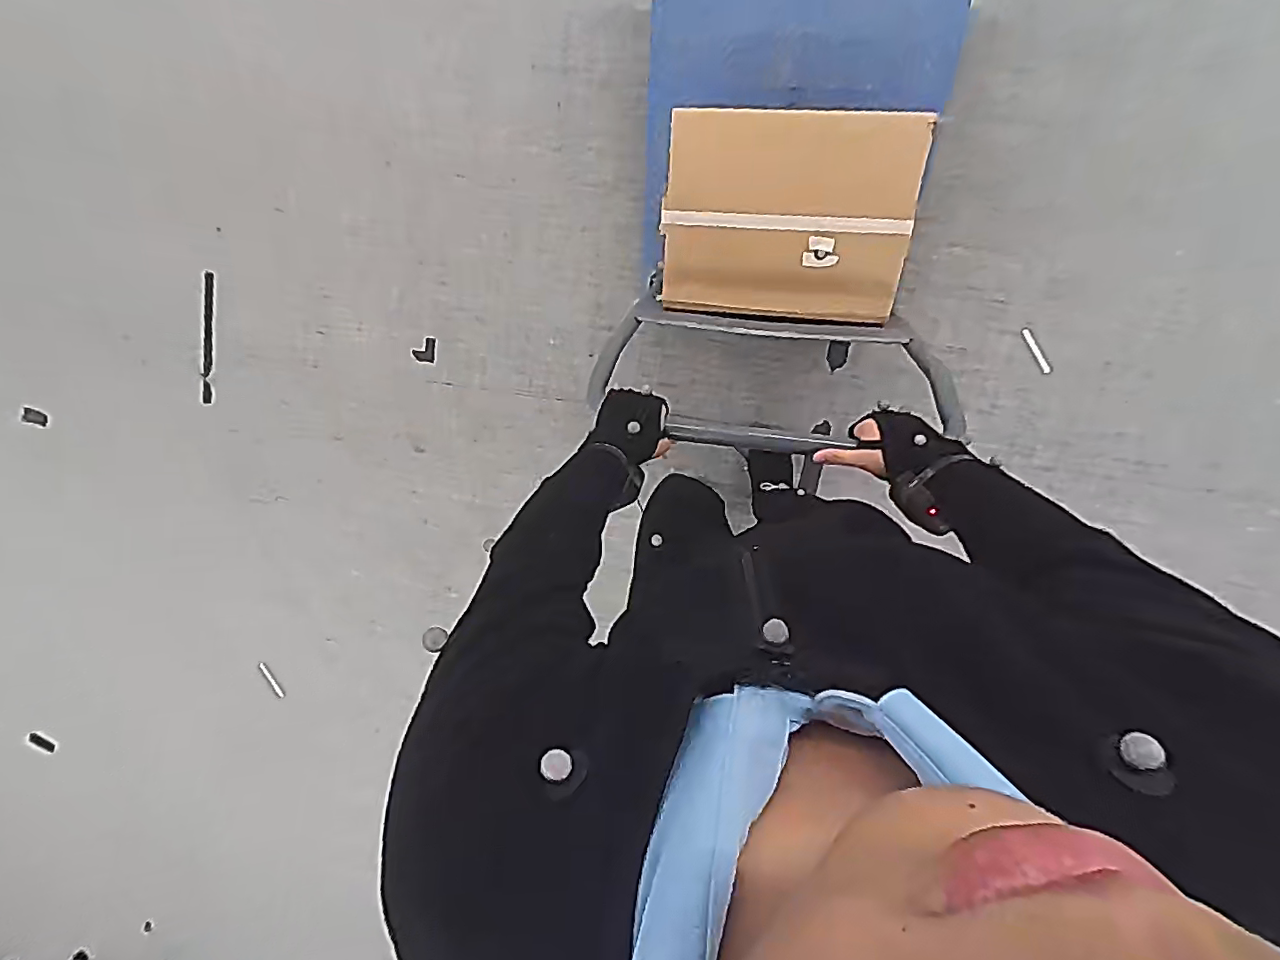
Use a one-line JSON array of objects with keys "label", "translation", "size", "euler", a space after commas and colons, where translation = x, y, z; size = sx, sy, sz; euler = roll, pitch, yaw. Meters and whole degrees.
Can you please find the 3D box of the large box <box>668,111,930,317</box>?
[{"label": "large box", "translation": [0.272, -0.509, 1.054], "size": [0.408, 0.320, 0.320], "euler": [6, 118, 8]}]
